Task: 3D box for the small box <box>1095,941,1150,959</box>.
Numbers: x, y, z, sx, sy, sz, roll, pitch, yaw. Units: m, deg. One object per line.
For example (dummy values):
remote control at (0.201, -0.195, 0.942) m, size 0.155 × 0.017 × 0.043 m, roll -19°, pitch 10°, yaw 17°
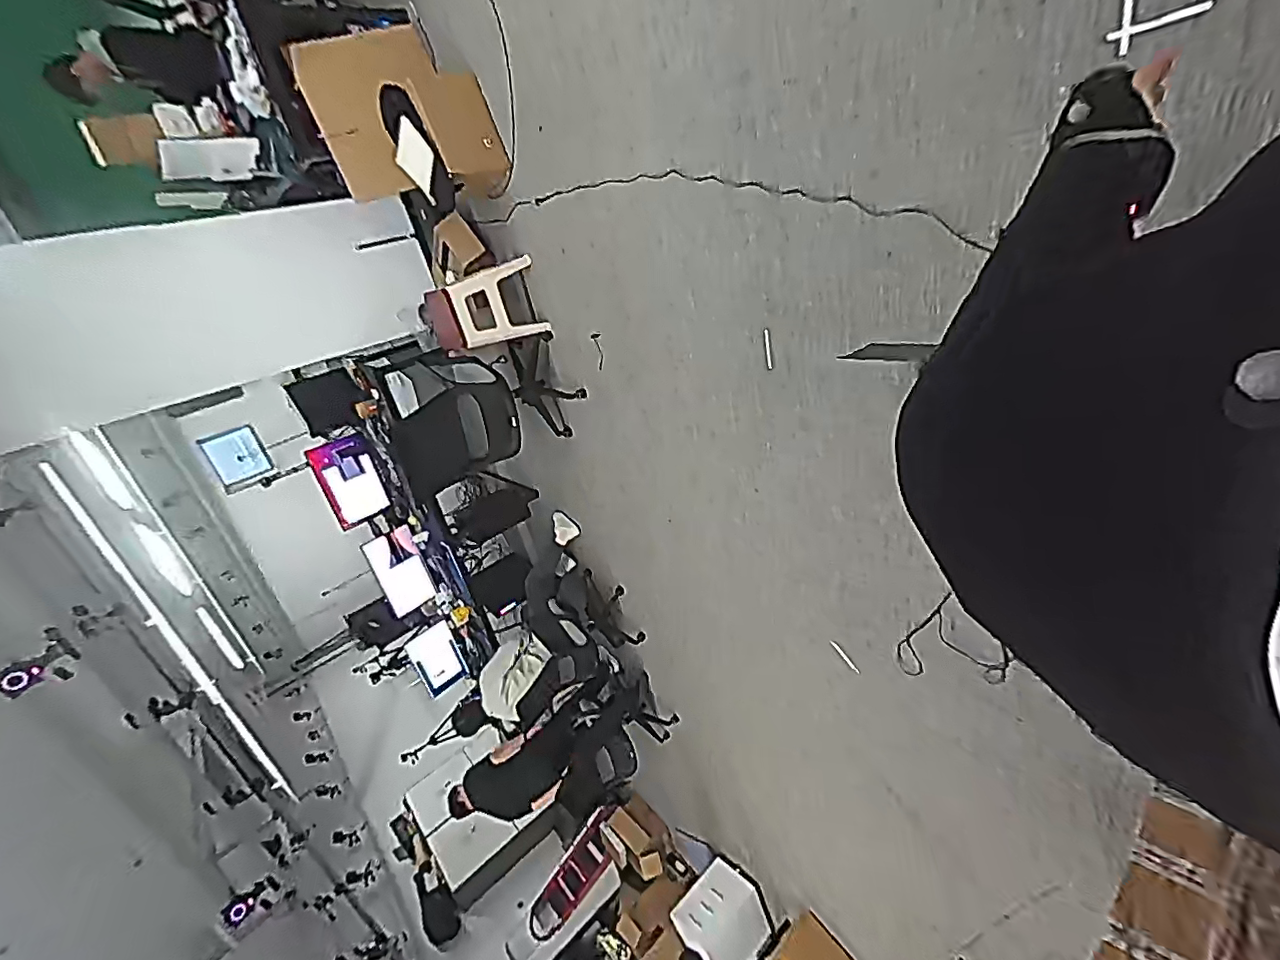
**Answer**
small box at (1.123, 1.196, 1.210) m, size 0.179 × 0.176 × 0.168 m, roll 7°, pitch 118°, yaw 53°
